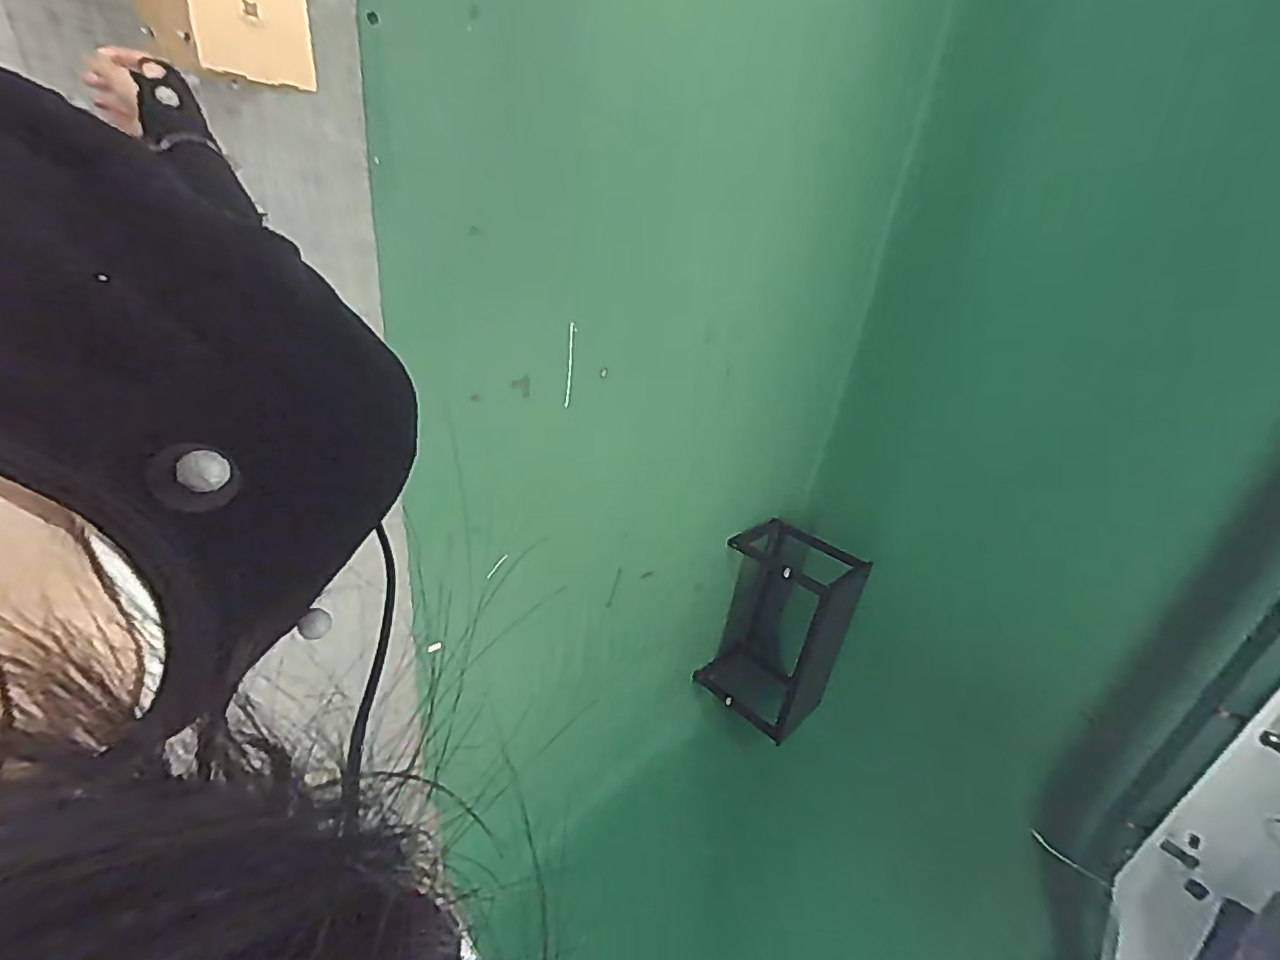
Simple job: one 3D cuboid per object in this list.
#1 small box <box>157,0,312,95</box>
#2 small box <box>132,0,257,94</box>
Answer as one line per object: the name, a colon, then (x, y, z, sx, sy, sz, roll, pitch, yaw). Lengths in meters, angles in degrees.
small box: (-0.669, -0.752, 0.884, 0.168, 0.176, 0.179, -21, 129, -43)
small box: (-0.788, -0.815, 0.974, 0.179, 0.176, 0.168, -18, 126, -45)
